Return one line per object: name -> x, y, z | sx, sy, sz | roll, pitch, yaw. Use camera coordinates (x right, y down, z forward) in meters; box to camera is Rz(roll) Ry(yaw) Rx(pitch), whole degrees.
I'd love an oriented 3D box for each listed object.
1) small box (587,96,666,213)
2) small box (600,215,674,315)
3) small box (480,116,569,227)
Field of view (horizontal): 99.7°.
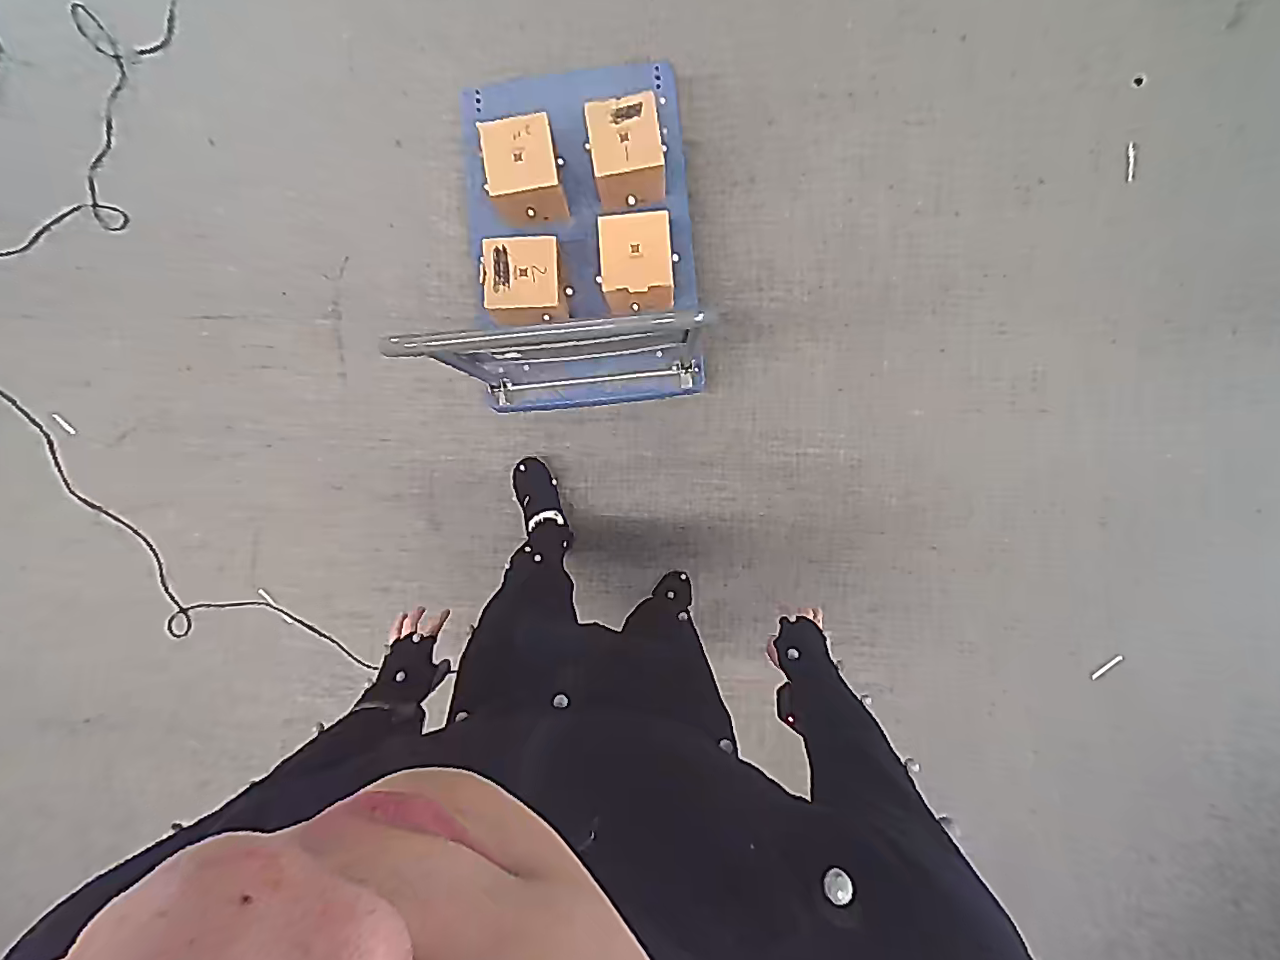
small box -> -0.030, -0.790, 1.327 | 0.168, 0.176, 0.179 | -8, 91, 4
small box -> -0.006, -0.520, 1.326 | 0.168, 0.176, 0.179 | -4, 90, 2
small box -> -0.278, -0.750, 1.339 | 0.168, 0.176, 0.179 | -9, 90, 2
